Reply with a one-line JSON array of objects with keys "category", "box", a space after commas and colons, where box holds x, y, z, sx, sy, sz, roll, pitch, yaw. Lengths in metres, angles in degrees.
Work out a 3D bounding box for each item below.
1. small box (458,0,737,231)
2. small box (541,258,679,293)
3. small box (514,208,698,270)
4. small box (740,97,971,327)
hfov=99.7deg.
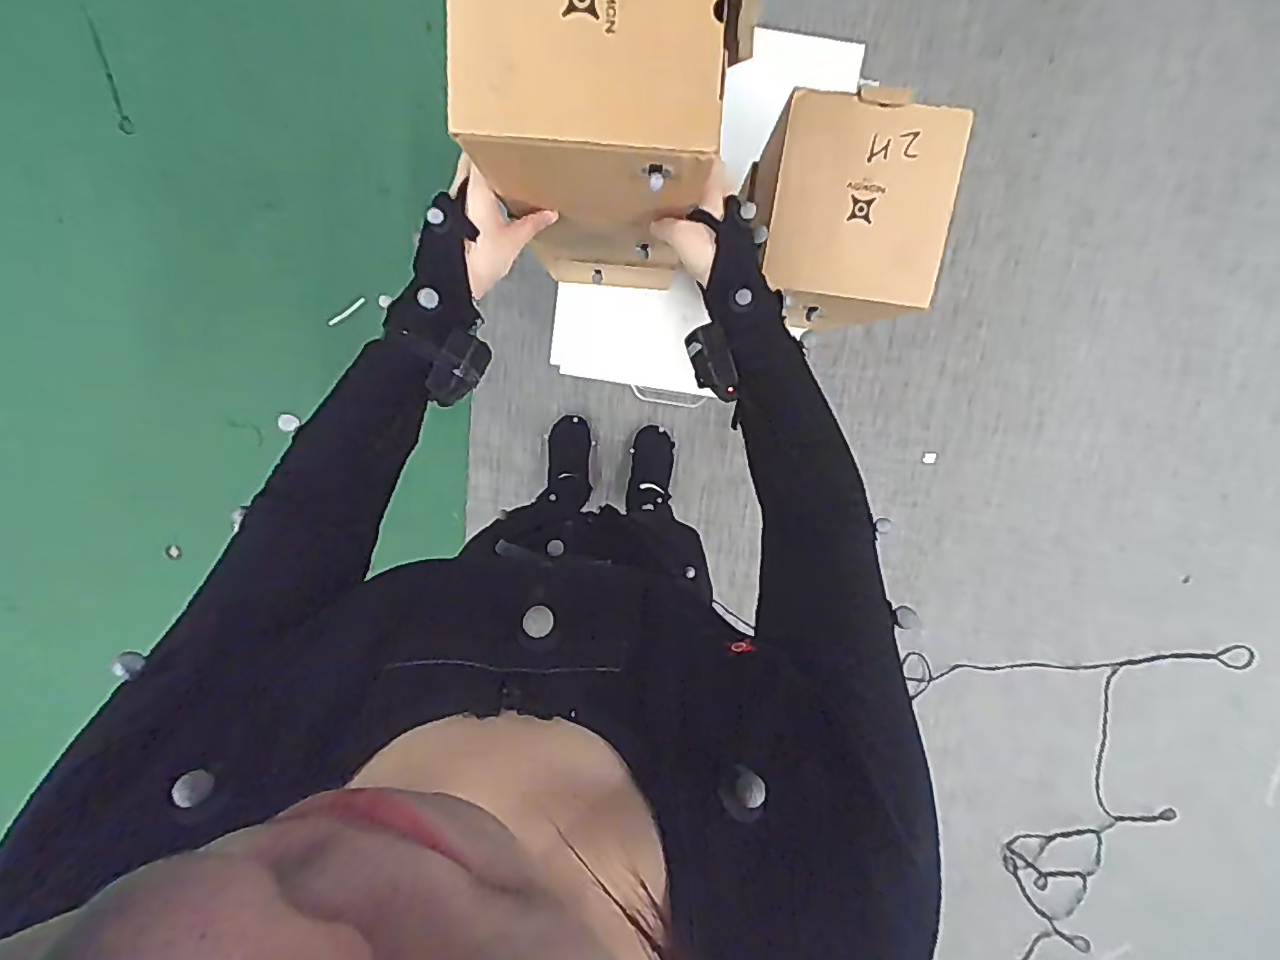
[{"category": "small box", "box": [-0.028, -0.304, 0.417, 0.179, 0.176, 0.168, 3, 100, -2]}, {"category": "small box", "box": [-0.033, -0.358, 0.740, 0.179, 0.176, 0.168, 4, 101, -2]}, {"category": "small box", "box": [-0.031, -0.329, 0.578, 0.179, 0.176, 0.168, 2, 99, -1]}, {"category": "small box", "box": [0.211, -0.268, 0.586, 0.168, 0.176, 0.179, 9, 101, -1]}]
